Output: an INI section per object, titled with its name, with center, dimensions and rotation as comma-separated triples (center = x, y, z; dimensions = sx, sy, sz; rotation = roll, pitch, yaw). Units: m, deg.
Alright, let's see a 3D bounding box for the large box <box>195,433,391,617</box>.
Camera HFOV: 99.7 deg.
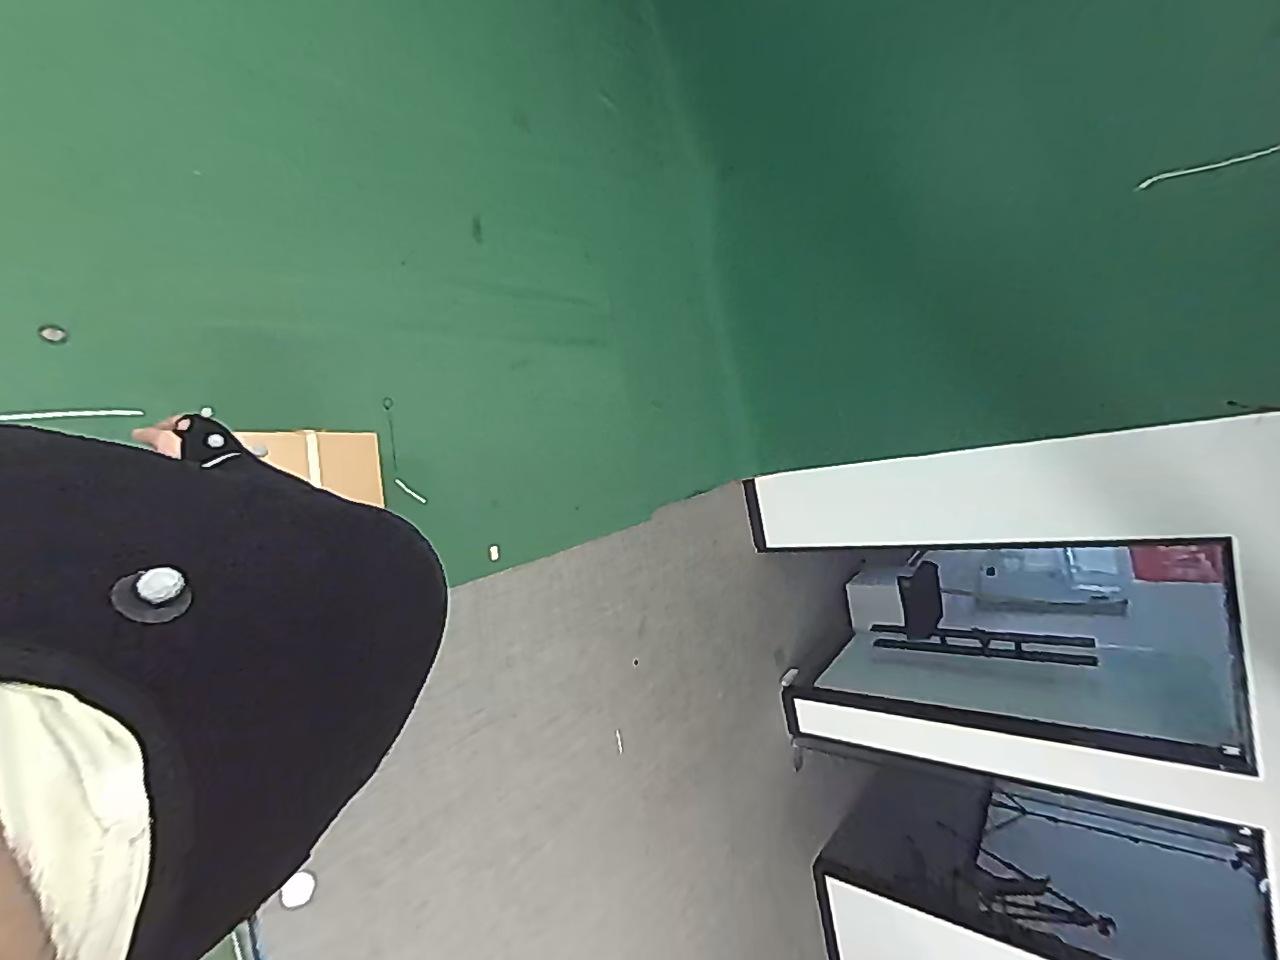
[large box]
center = -0.878, 0.102, 1.370
dimensions = 0.320, 0.320, 0.408
rotation = -6, 89, -49
